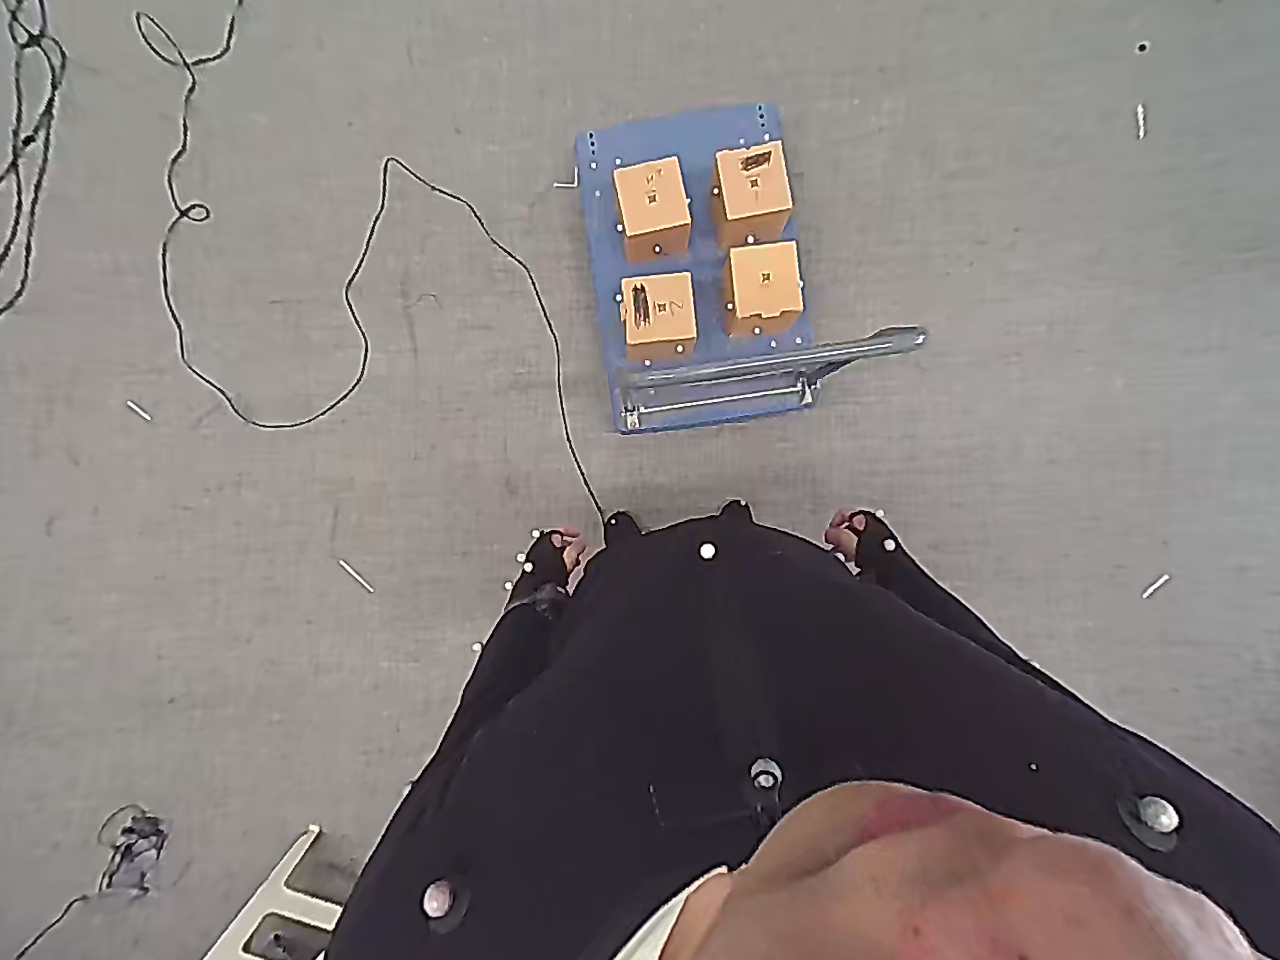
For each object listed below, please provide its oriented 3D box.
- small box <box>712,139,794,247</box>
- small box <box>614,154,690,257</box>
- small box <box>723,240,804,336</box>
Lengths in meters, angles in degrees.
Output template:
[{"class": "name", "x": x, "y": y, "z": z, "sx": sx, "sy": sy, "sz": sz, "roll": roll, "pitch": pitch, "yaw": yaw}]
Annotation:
[{"class": "small box", "x": 0.286, "y": -0.739, "z": 1.406, "sx": 0.168, "sy": 0.176, "sz": 0.179, "roll": -10, "pitch": 89, "yaw": 2}, {"class": "small box", "x": 0.033, "y": -0.703, "z": 1.412, "sx": 0.168, "sy": 0.176, "sz": 0.179, "roll": -11, "pitch": 88, "yaw": 1}, {"class": "small box", "x": 0.313, "y": -0.492, "z": 1.401, "sx": 0.168, "sy": 0.176, "sz": 0.179, "roll": -6, "pitch": 87, "yaw": 2}]
